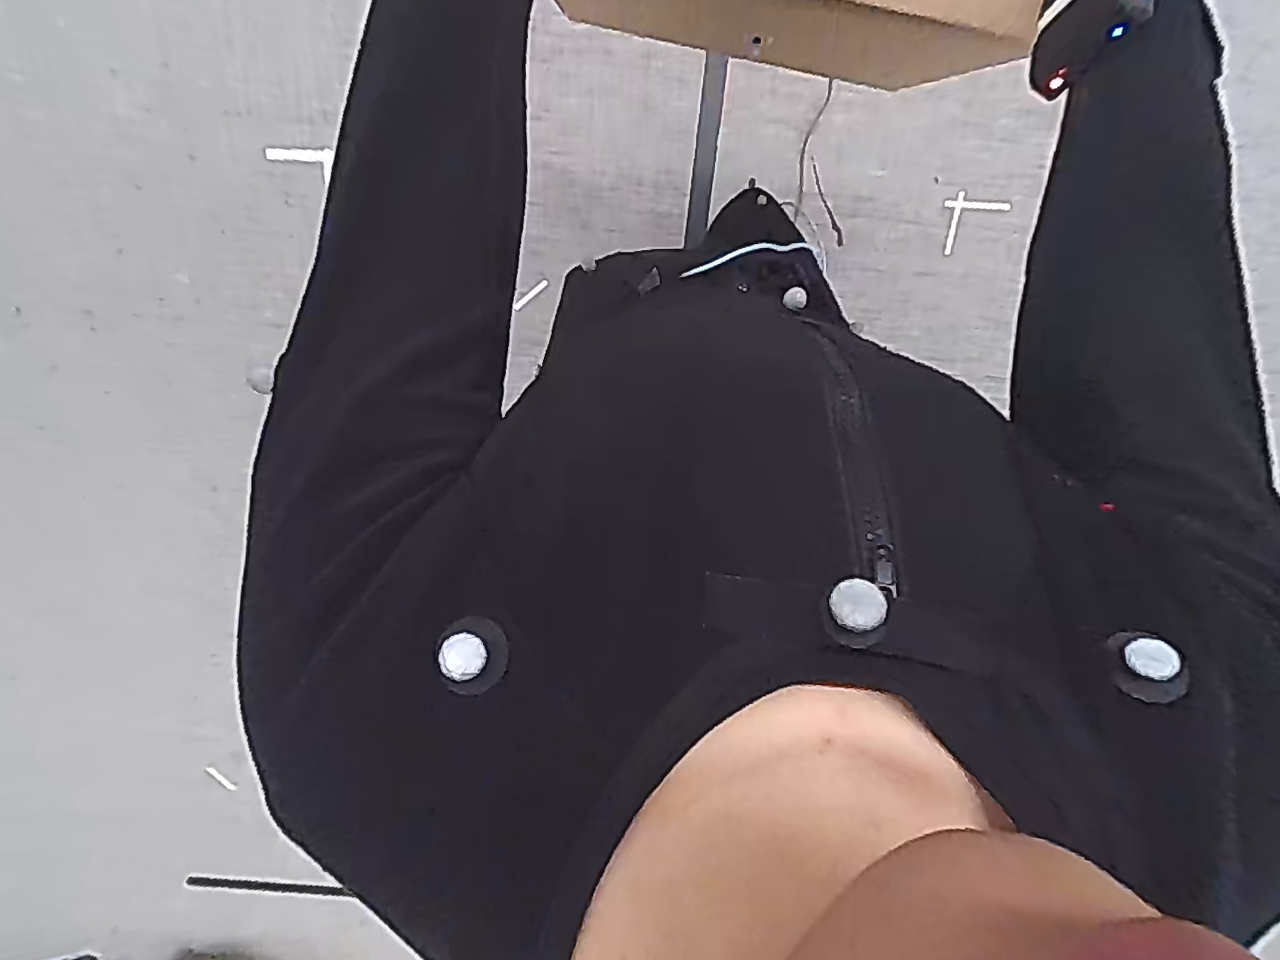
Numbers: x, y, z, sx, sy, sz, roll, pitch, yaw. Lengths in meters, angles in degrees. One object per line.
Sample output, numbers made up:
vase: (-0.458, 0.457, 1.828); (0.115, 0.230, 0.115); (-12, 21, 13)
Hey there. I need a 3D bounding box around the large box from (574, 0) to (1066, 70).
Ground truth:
large box: (0.142, -0.570, 0.438); (0.408, 0.320, 0.320); (9, 120, -5)
